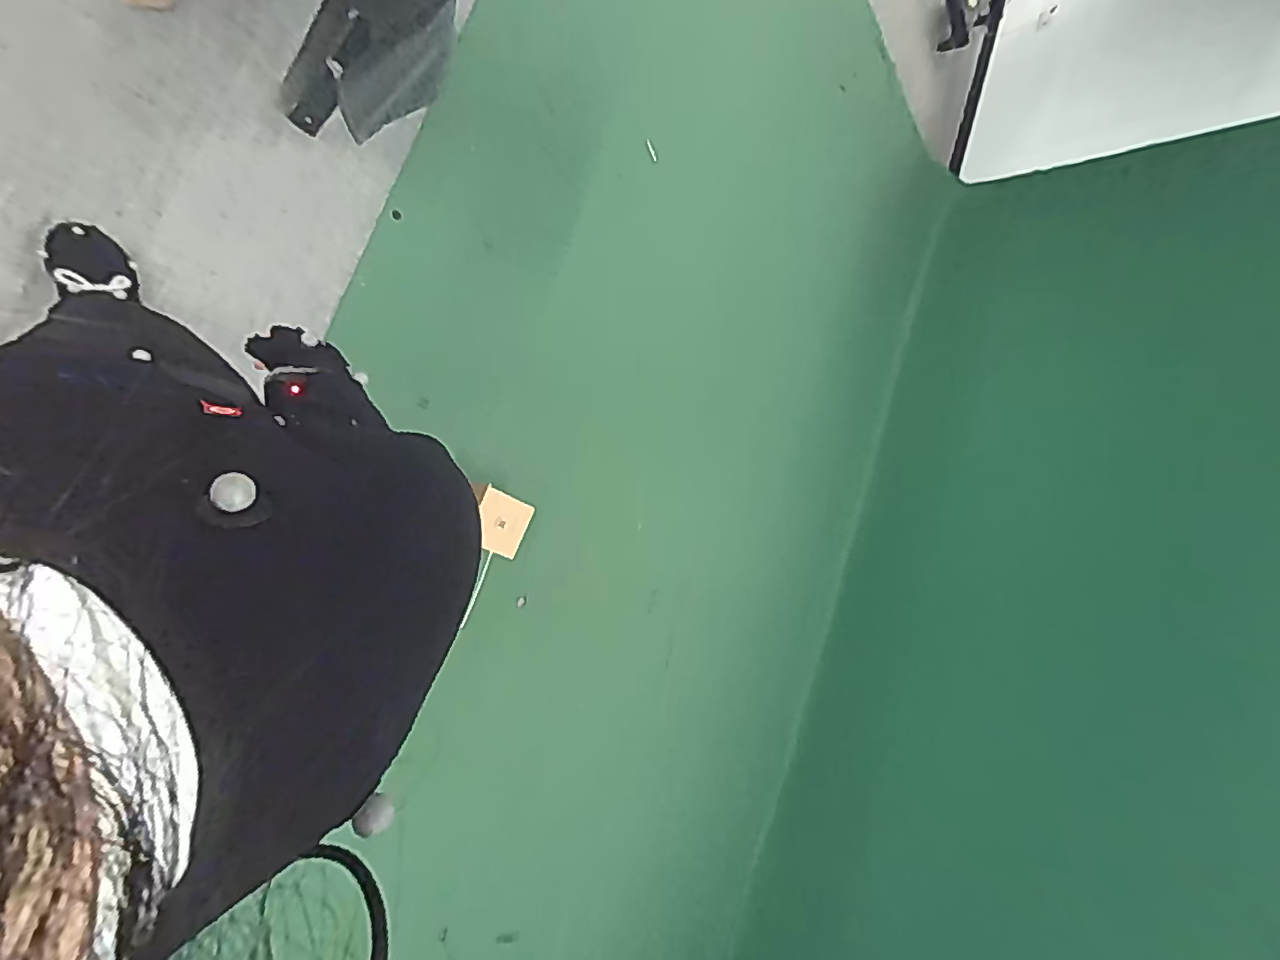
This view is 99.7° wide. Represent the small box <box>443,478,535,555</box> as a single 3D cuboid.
[{"bbox_3d":[-0.450,0.103,1.597,0.179,0.176,0.168,33,75,-42],"label":"small box"}]
